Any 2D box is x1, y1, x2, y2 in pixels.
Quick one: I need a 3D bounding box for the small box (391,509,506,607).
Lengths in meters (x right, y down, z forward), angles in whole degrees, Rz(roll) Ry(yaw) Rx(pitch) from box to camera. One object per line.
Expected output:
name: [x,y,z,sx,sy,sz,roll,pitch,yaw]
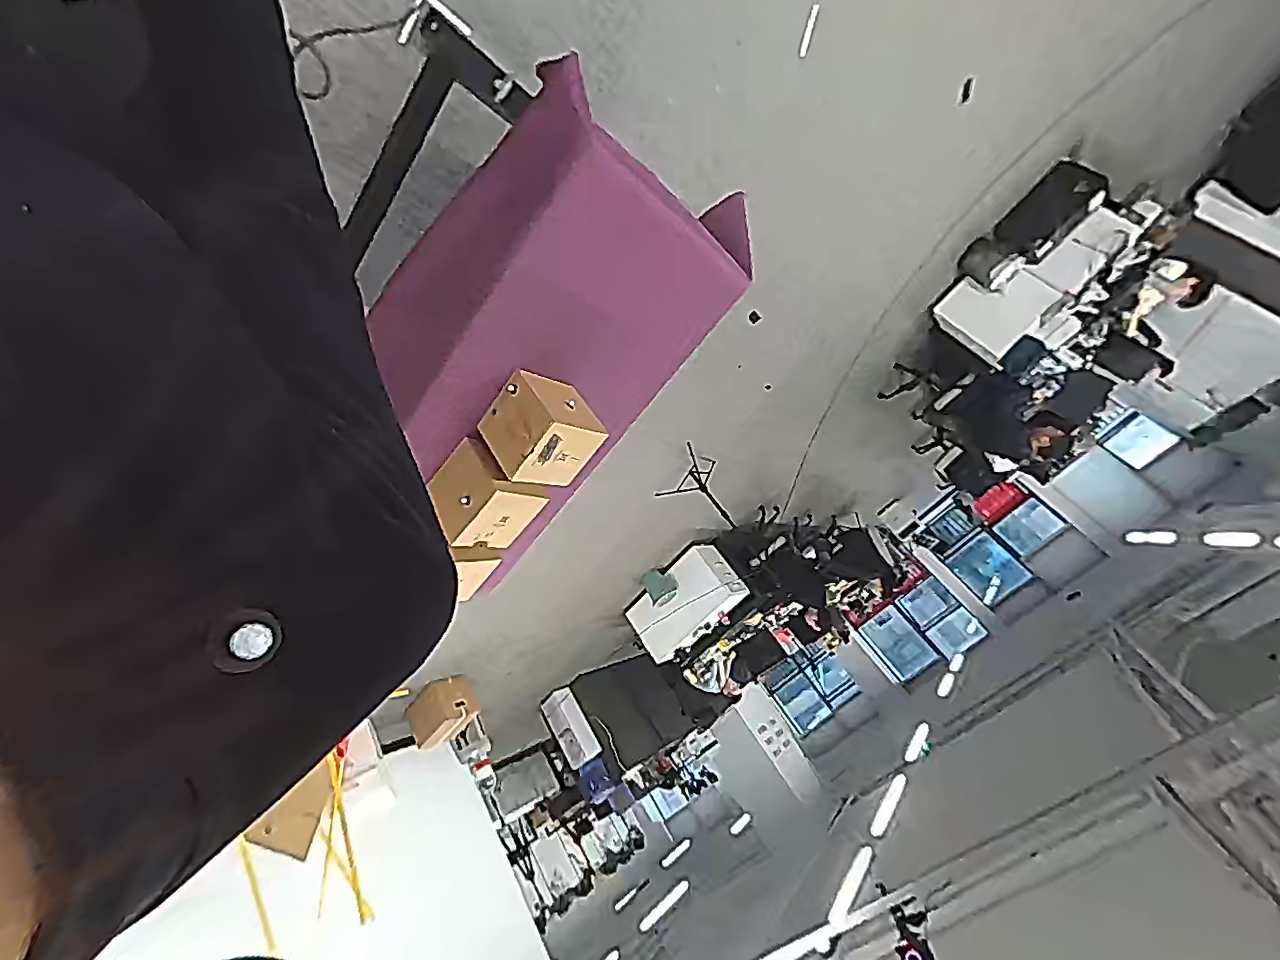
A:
small box: [-0.468,0.184,1.309,0.168,0.176,0.179,-47,152,20]
